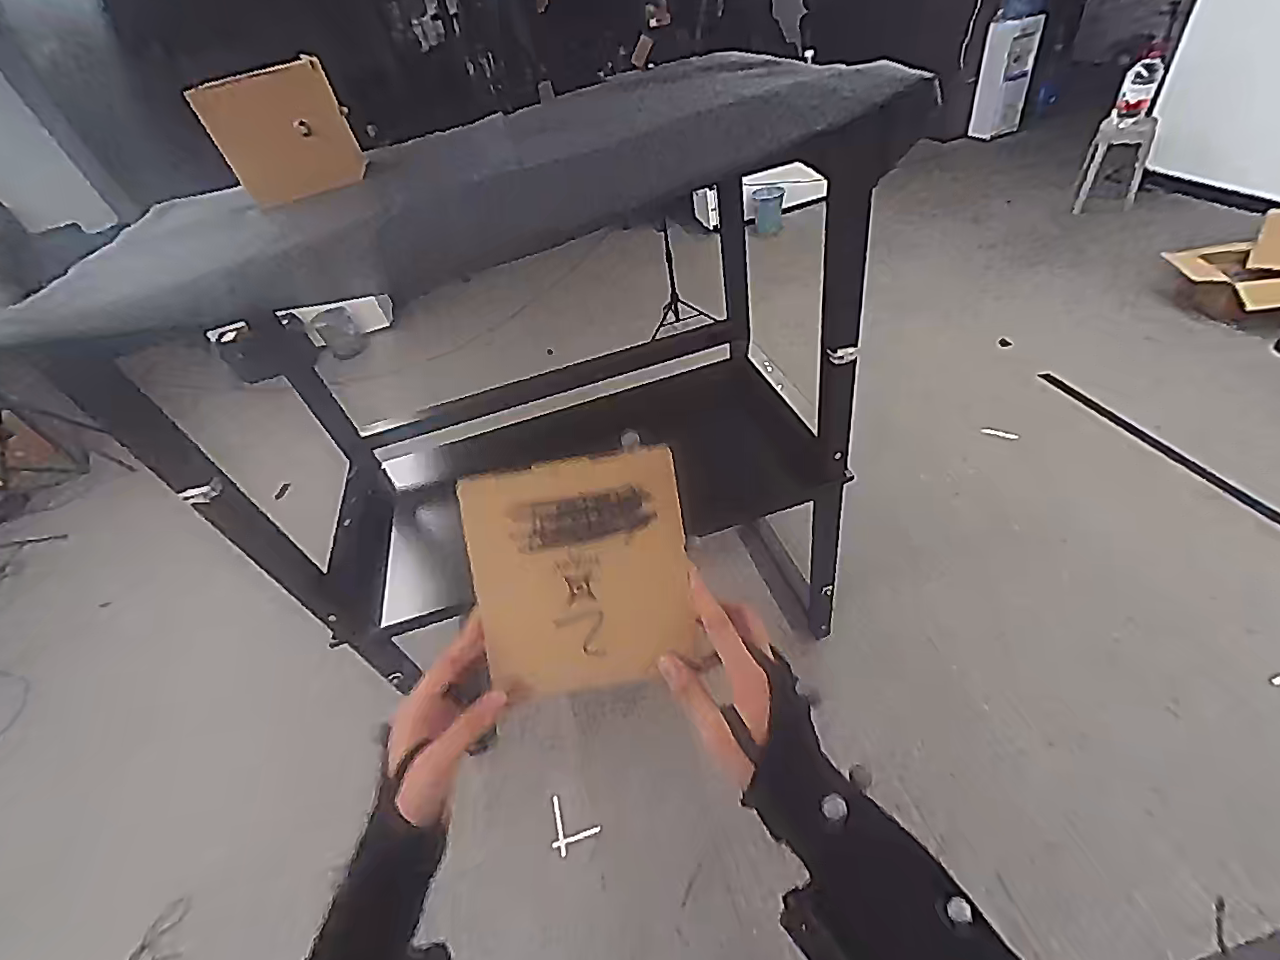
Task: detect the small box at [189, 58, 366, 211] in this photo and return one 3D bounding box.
[{"bbox_3d":[-0.585,-0.578,0.906,0.179,0.176,0.168,-19,43,-6],"label":"small box"}]
